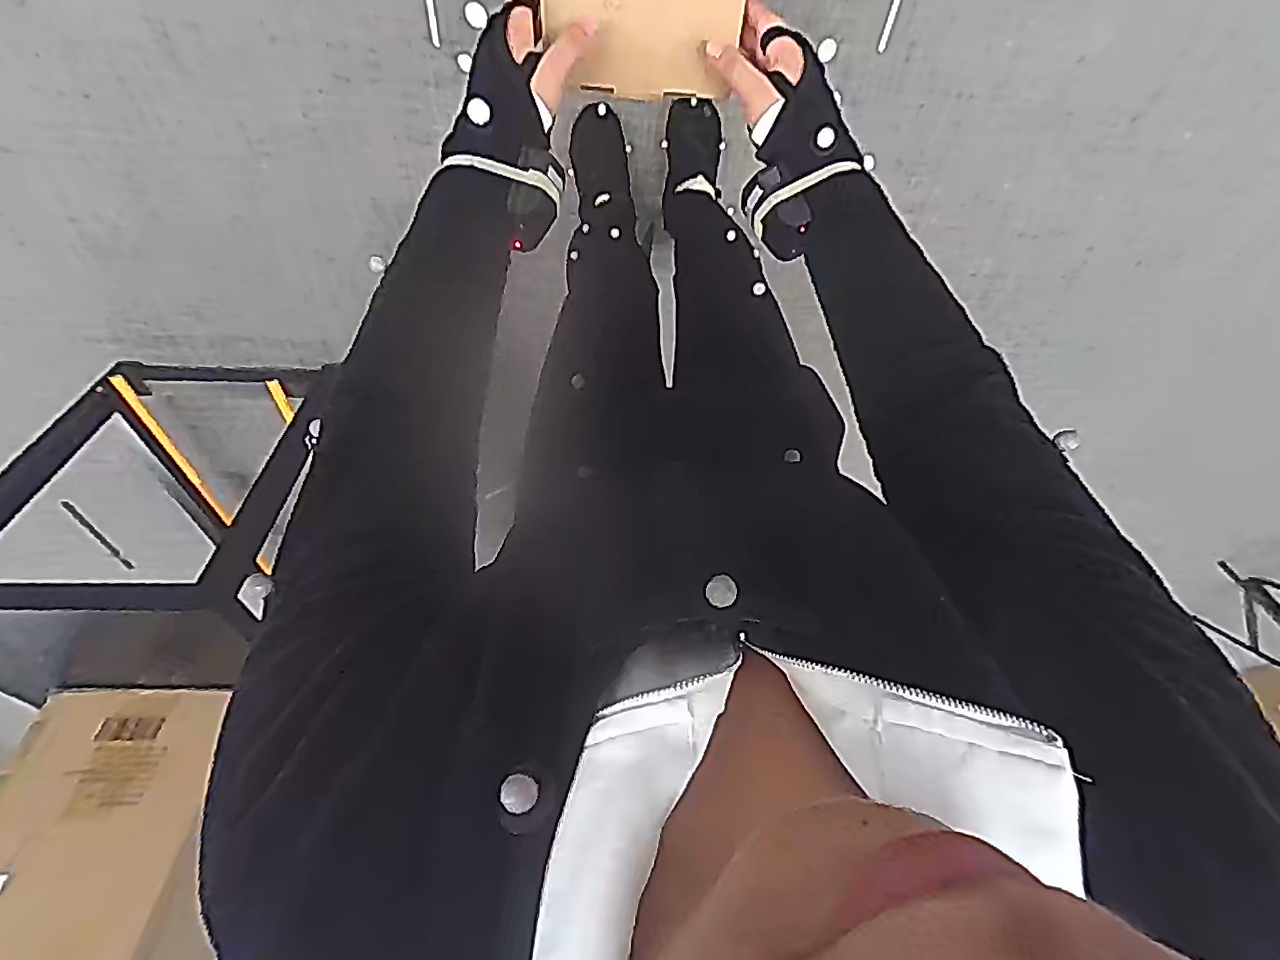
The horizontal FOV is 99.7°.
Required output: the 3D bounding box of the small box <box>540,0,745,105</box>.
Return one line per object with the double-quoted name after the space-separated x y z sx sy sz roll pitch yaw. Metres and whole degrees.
0.003 -0.455 0.465 0.168 0.176 0.179 1 138 -4 "small box"
